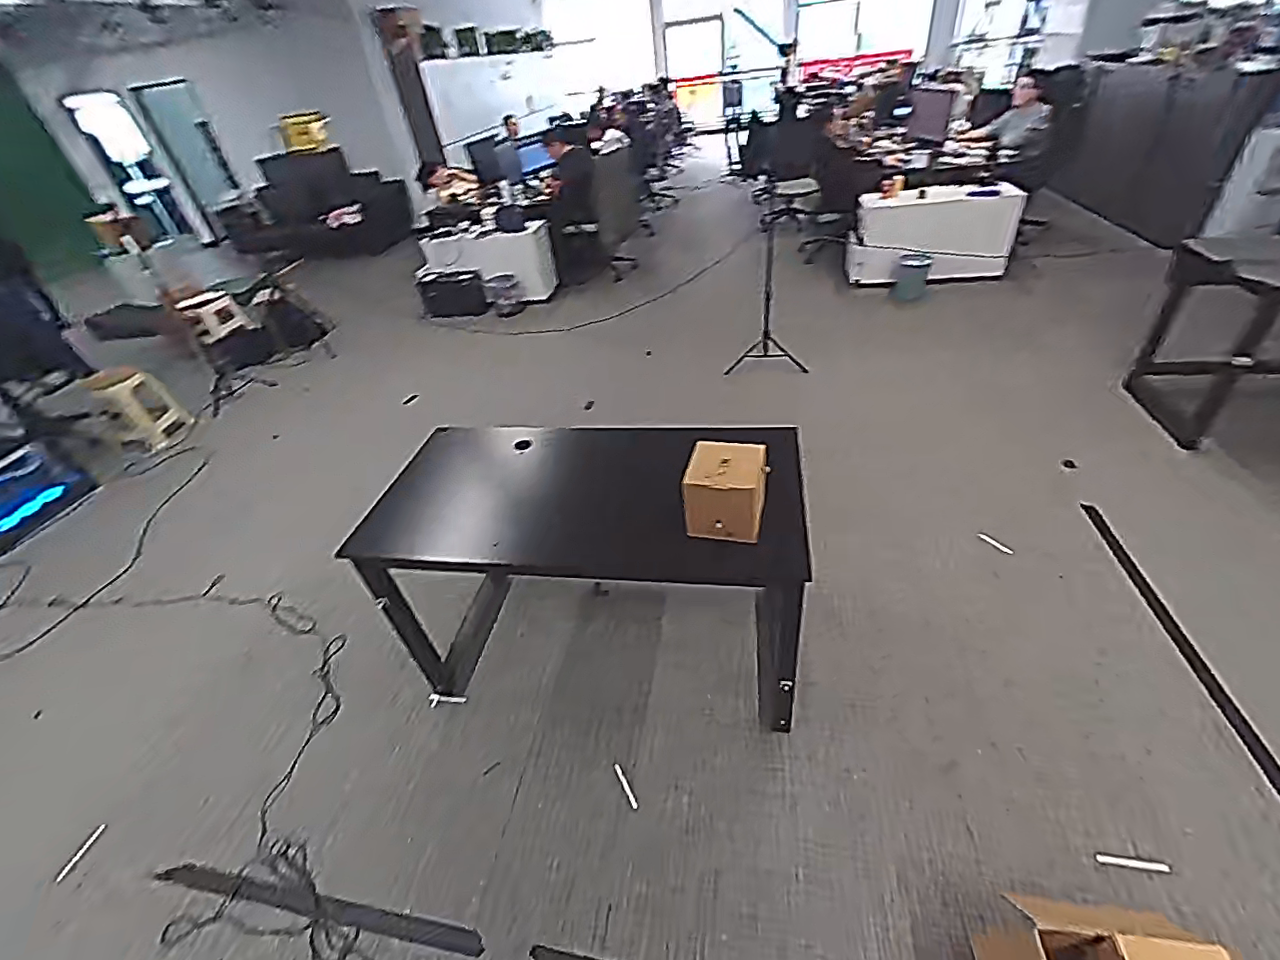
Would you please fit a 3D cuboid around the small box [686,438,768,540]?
[{"bbox_3d":[0.214,0.019,1.308,0.168,0.176,0.179,5,40,18],"label":"small box"}]
